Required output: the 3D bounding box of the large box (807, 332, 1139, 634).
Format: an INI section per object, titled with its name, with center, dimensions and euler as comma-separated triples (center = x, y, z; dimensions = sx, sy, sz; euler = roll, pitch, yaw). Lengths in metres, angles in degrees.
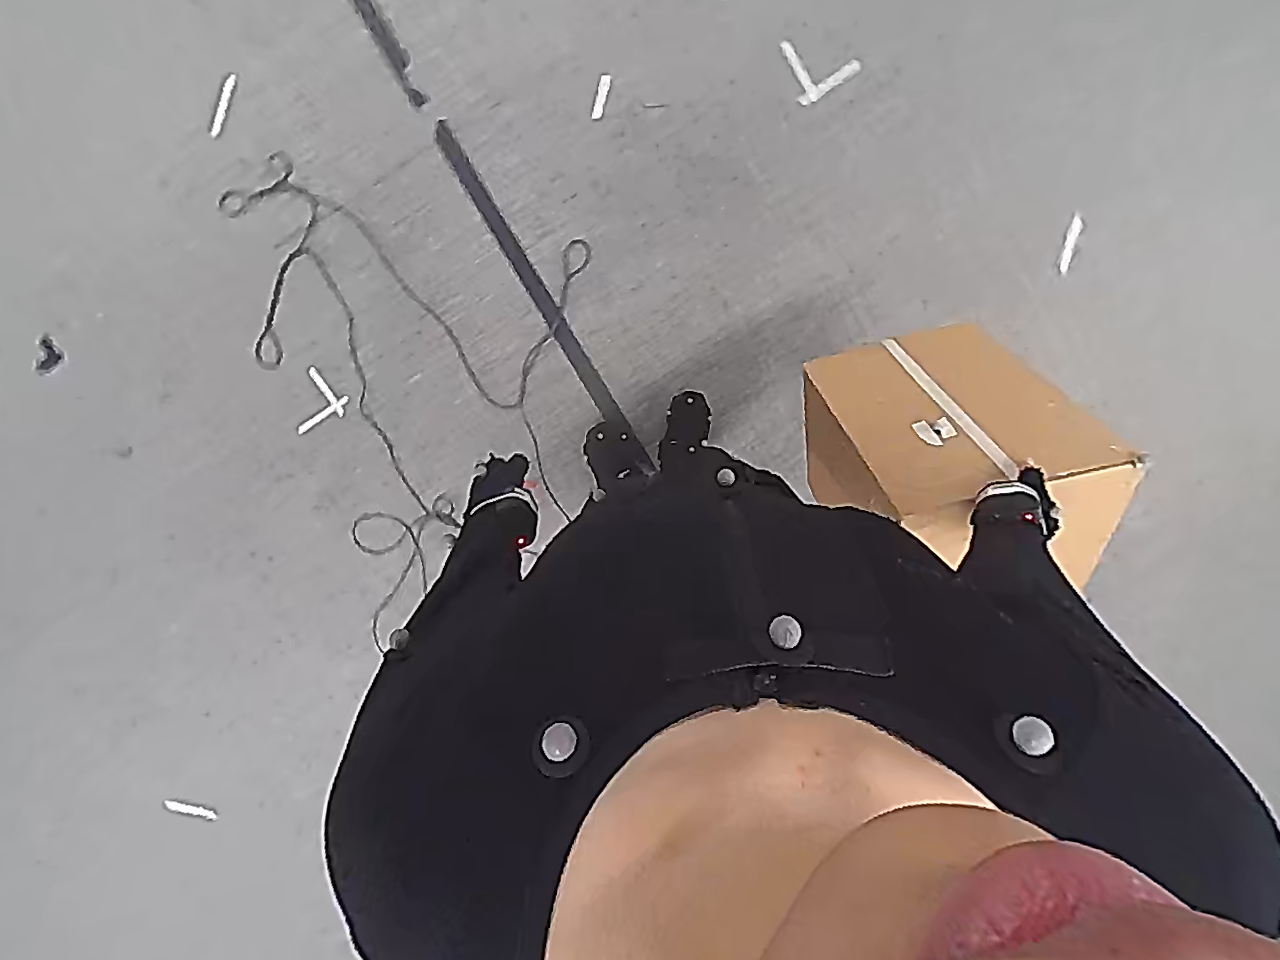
[large box]
center = 0.512, -0.003, 0.958
dimensions = 0.320, 0.408, 0.320
euler = -14, 133, 4
